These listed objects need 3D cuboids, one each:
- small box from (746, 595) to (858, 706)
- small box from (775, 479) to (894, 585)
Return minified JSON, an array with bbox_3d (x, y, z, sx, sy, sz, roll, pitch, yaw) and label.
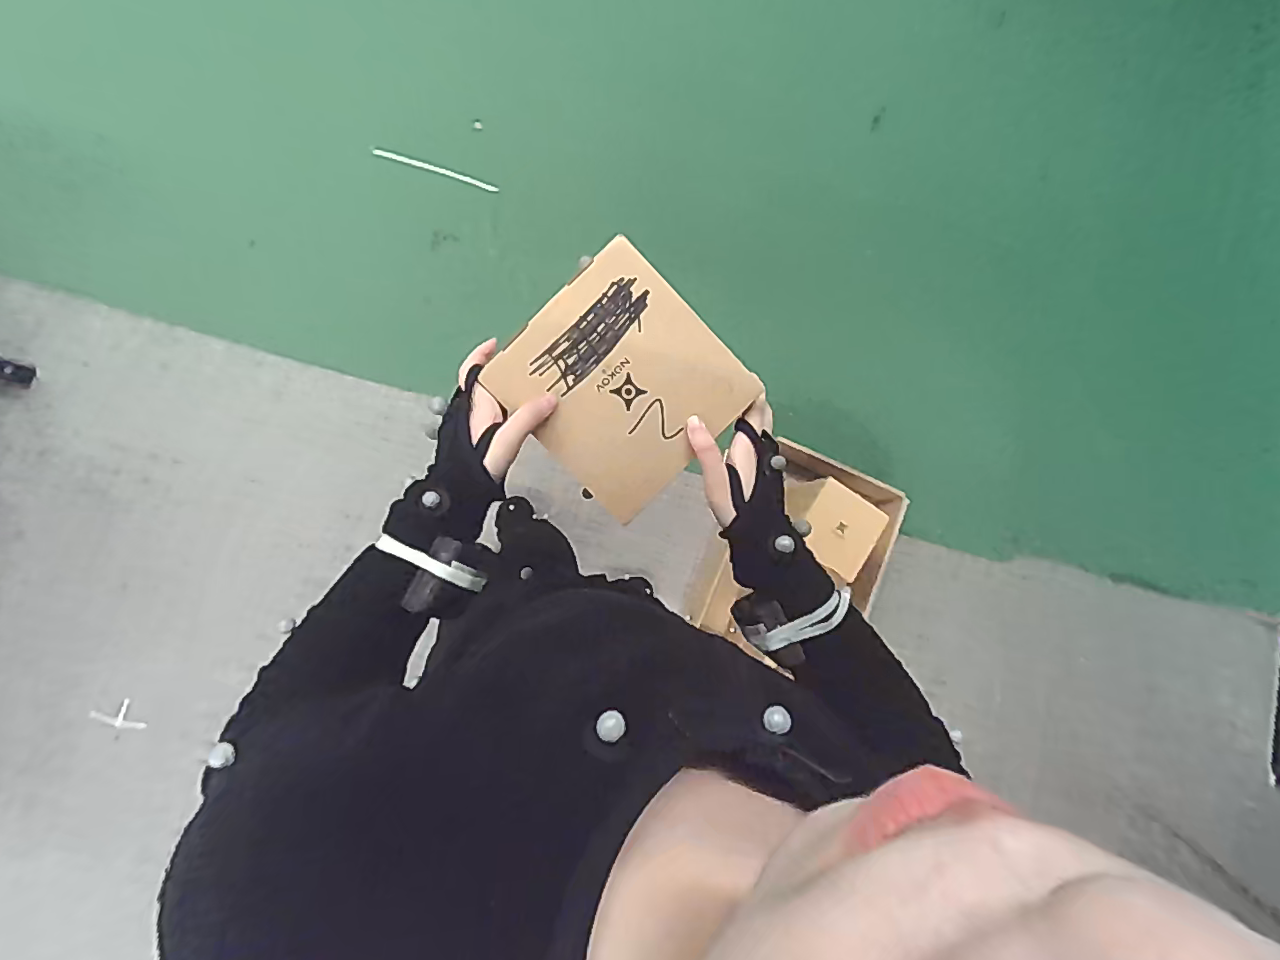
[{"bbox_3d":[0.354,0.372,1.217,0.168,0.176,0.179,23,81,-1],"label":"small box"},{"bbox_3d":[0.440,0.118,1.254,0.168,0.176,0.179,34,84,0],"label":"small box"}]
